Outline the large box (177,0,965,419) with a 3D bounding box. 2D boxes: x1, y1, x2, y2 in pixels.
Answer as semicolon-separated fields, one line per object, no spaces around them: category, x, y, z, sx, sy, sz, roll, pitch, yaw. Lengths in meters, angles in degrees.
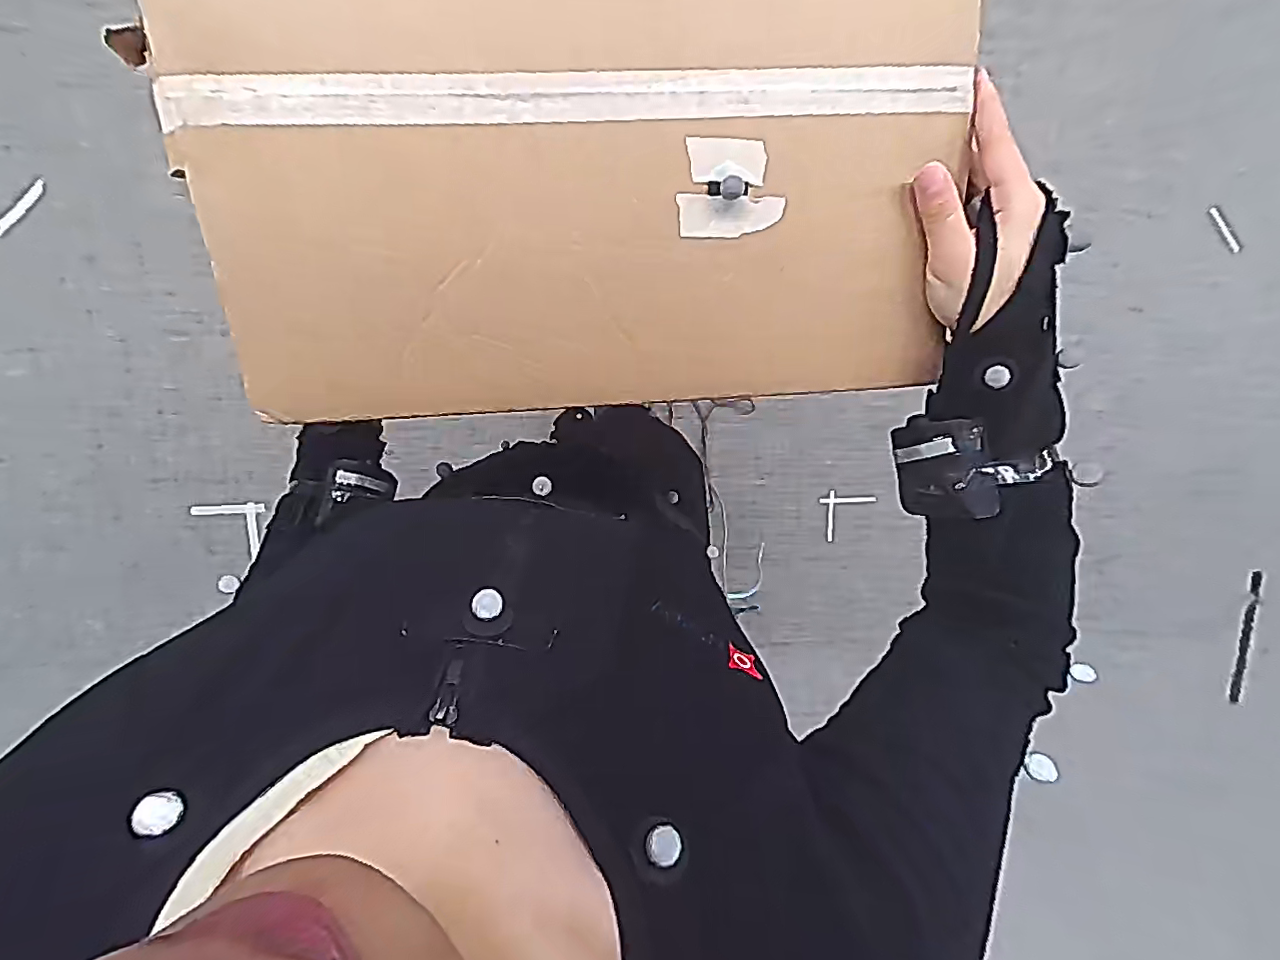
large box;-0.039;-0.242;0.428;0.408;0.320;0.320;-5;108;-6
